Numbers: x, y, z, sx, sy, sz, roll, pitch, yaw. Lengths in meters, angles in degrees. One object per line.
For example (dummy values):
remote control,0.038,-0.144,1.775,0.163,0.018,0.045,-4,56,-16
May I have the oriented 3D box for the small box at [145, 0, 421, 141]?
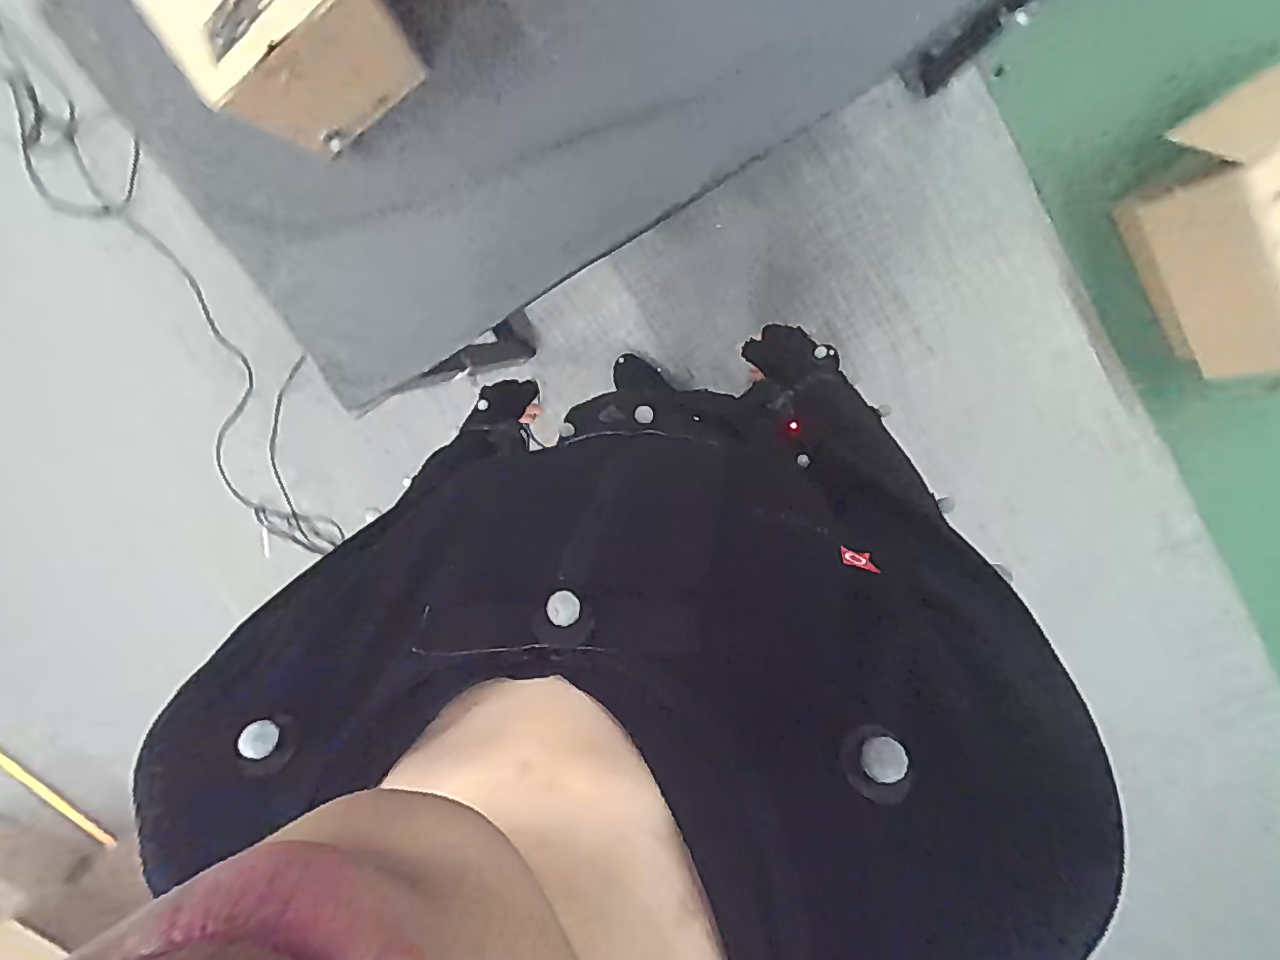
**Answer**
small box,-0.365,-0.485,0.553,0.168,0.176,0.179,-30,100,13
